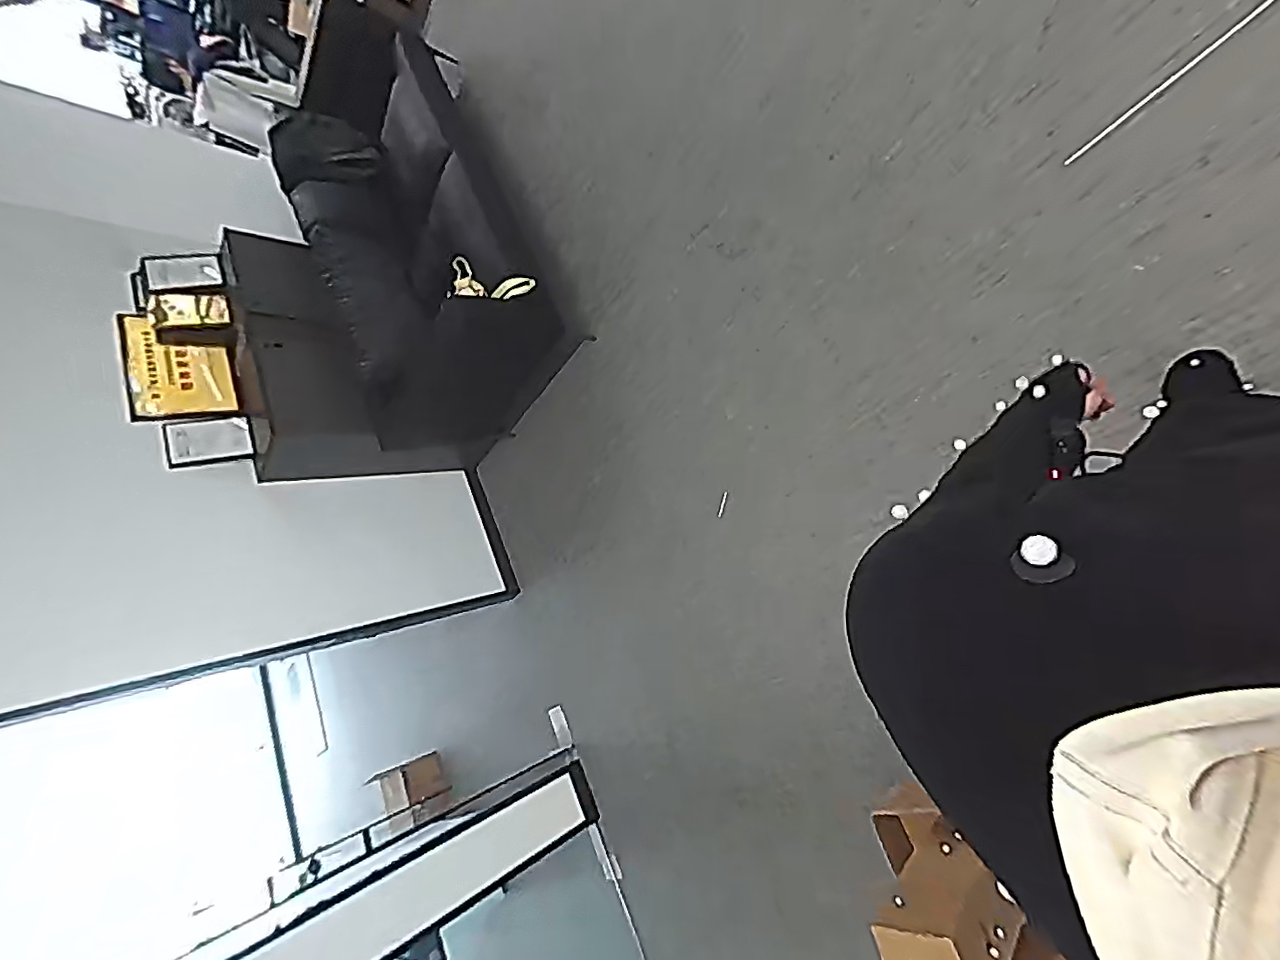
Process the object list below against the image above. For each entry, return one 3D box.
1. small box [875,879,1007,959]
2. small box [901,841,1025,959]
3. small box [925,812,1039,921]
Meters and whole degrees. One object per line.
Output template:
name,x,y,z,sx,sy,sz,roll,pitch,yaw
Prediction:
small box,0.641,0.988,1.149,0.179,0.176,0.168,-31,73,41
small box,0.756,0.977,1.265,0.179,0.176,0.168,-32,72,42
small box,0.873,0.974,1.380,0.179,0.176,0.168,-34,70,41
